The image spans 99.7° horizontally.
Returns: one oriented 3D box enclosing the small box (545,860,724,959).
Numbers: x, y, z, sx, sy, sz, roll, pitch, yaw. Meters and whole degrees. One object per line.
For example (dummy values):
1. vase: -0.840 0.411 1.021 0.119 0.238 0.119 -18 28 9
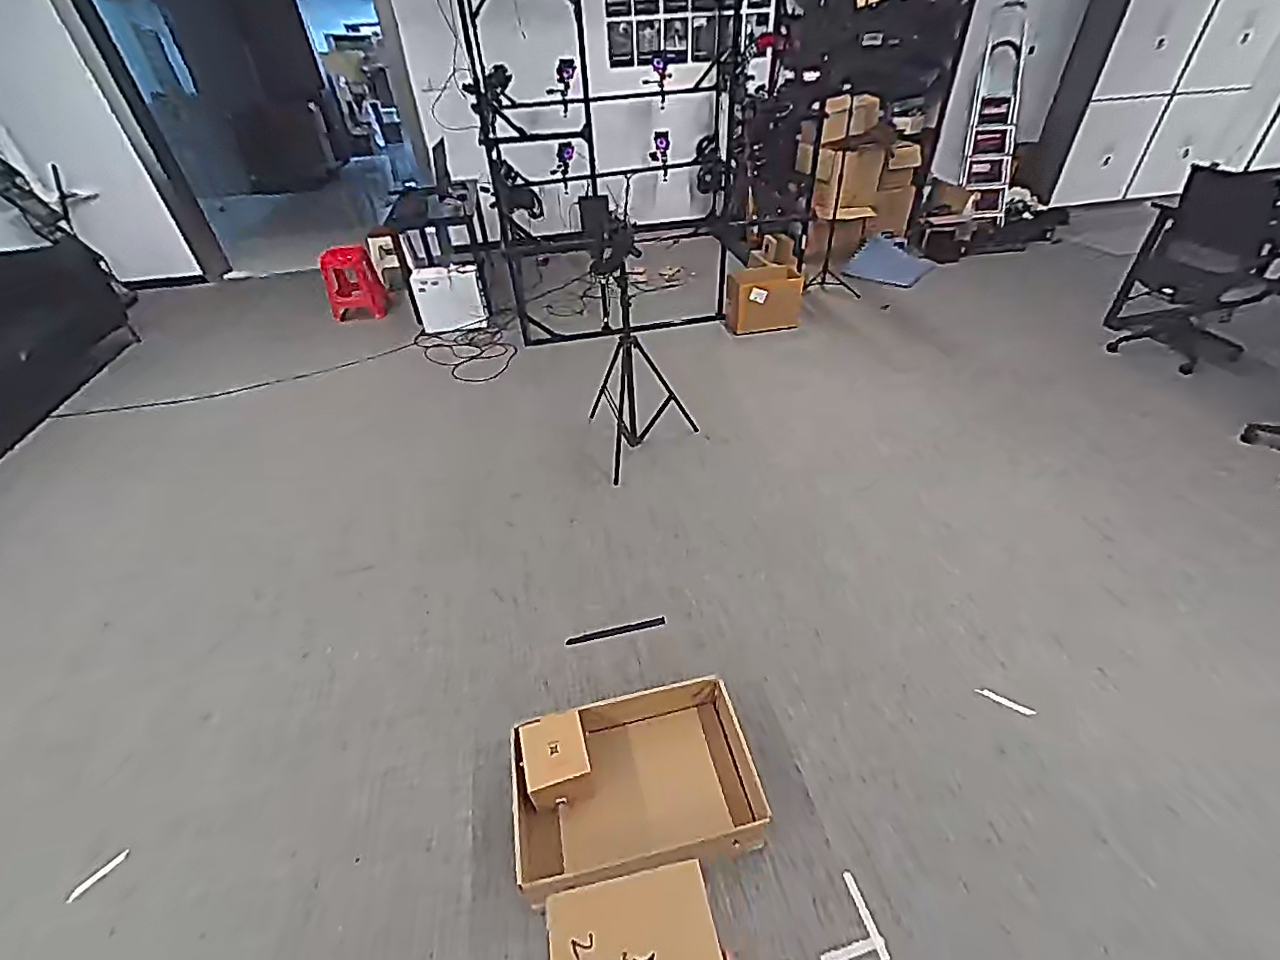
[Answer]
1. small box: 0.000 0.548 0.579 0.179 0.176 0.168 -9 37 -8
